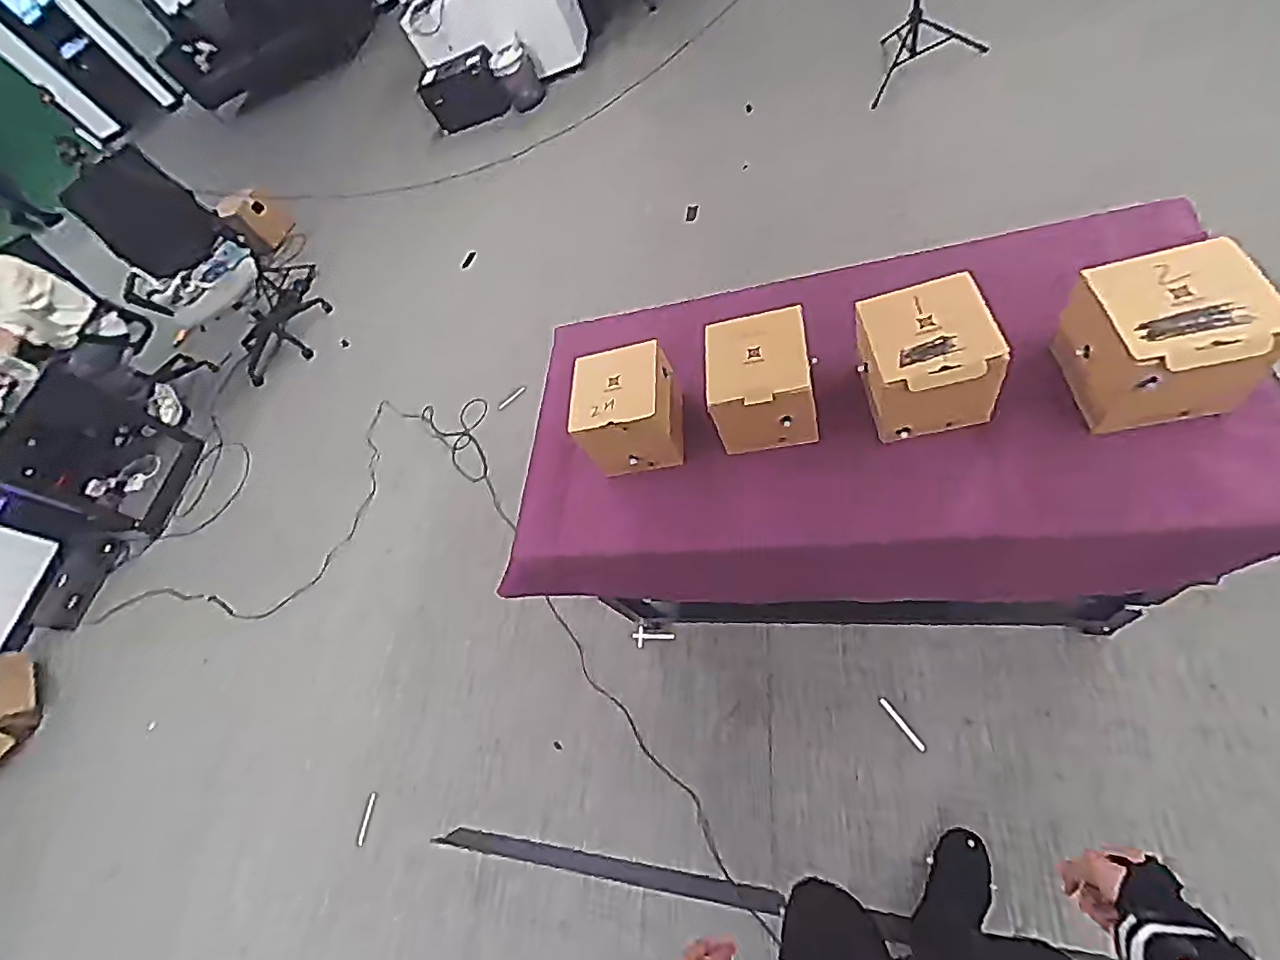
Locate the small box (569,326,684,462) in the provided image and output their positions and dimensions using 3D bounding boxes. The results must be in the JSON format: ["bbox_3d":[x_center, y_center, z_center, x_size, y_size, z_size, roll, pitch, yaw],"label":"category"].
[{"bbox_3d":[-0.018,-0.157,1.032,0.168,0.176,0.179,-9,61,19],"label":"small box"}]

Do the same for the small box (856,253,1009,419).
[{"bbox_3d":[0.451,-0.216,0.861,0.168,0.176,0.179,-12,59,16],"label":"small box"}]

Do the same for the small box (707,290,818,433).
[{"bbox_3d":[0.217,-0.196,0.954,0.168,0.176,0.179,-7,61,19],"label":"small box"}]
